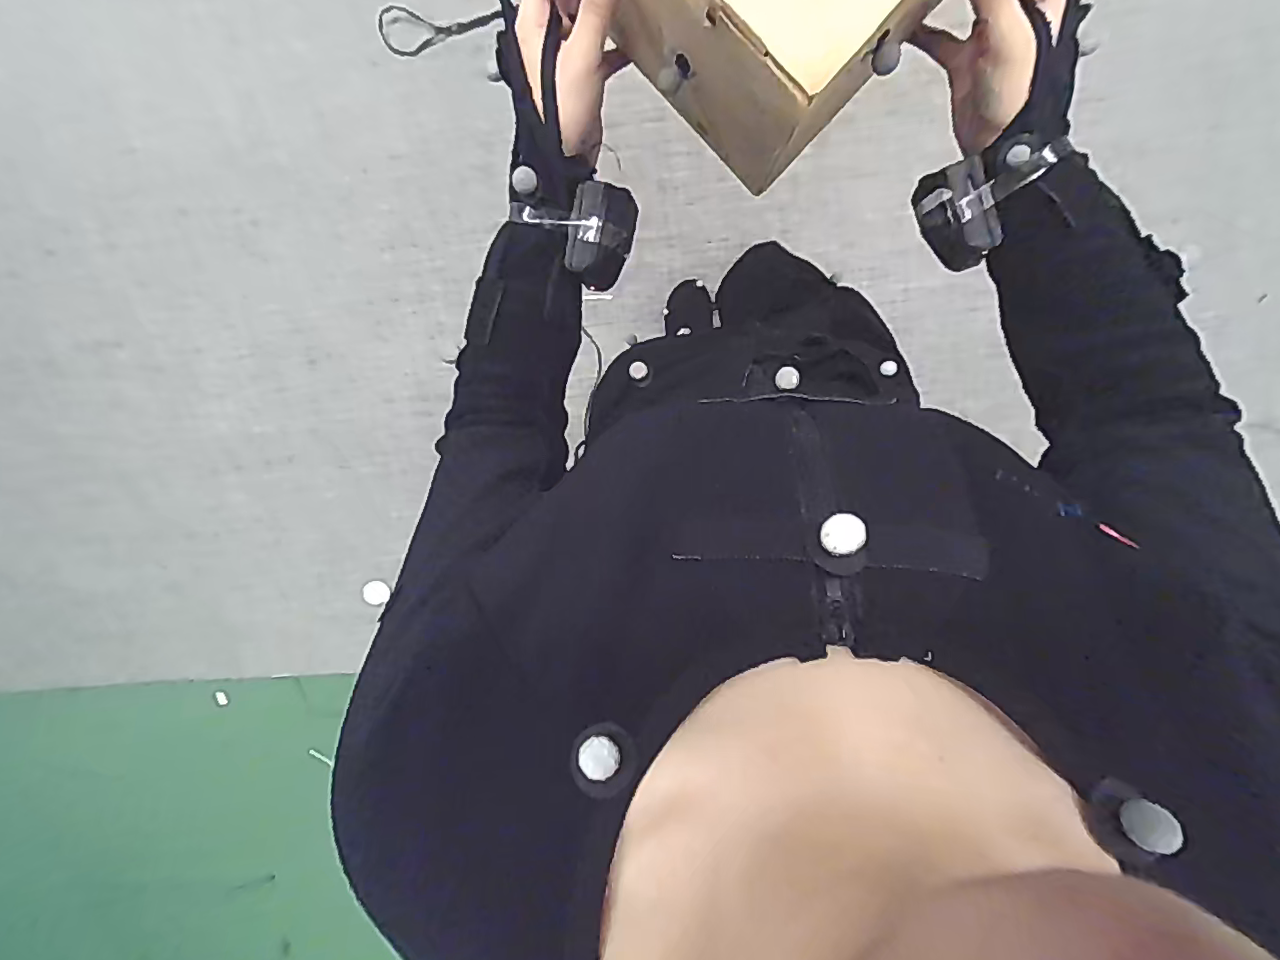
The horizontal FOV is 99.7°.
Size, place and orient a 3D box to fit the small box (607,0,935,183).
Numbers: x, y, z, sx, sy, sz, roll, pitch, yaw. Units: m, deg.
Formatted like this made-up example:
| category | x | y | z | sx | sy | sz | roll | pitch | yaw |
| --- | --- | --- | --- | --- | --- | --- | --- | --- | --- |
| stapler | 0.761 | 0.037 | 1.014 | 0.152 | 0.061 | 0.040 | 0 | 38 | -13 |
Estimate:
| category | x | y | z | sx | sy | sz | roll | pitch | yaw |
| --- | --- | --- | --- | --- | --- | --- | --- | --- | --- |
| small box | 0.084 | -0.313 | 0.310 | 0.168 | 0.176 | 0.179 | 44 | 103 | -6 |
